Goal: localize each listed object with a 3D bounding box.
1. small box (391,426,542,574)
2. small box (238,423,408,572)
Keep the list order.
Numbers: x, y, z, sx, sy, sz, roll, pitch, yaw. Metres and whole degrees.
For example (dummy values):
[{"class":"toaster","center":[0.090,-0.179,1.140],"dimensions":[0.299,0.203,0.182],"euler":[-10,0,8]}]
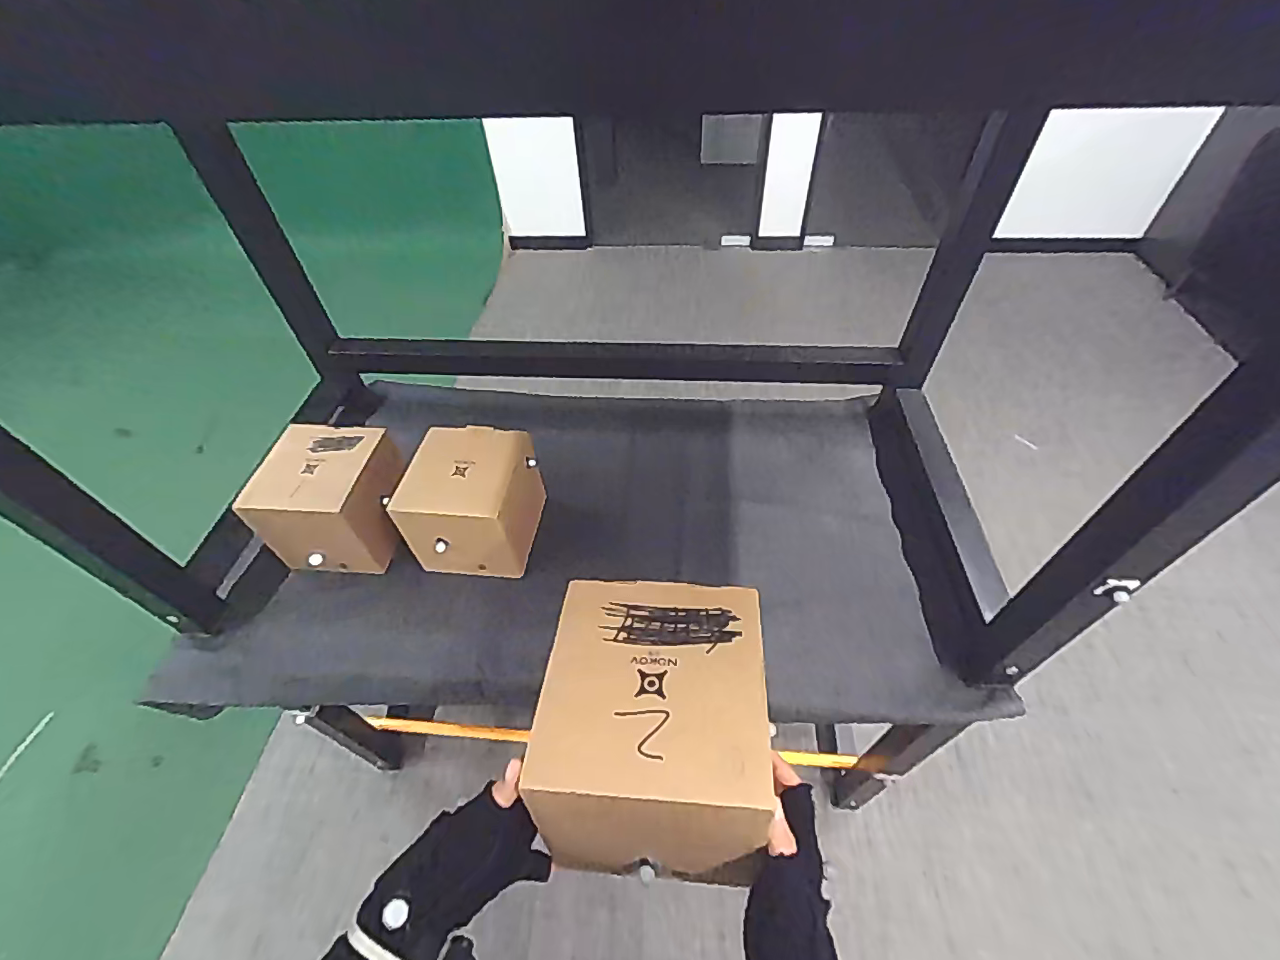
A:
[{"class":"small box","center":[-0.265,0.035,0.878],"dimensions":[0.168,0.176,0.179],"euler":[4,49,5]},{"class":"small box","center":[-0.492,0.028,0.889],"dimensions":[0.168,0.176,0.179],"euler":[3,49,5]}]
